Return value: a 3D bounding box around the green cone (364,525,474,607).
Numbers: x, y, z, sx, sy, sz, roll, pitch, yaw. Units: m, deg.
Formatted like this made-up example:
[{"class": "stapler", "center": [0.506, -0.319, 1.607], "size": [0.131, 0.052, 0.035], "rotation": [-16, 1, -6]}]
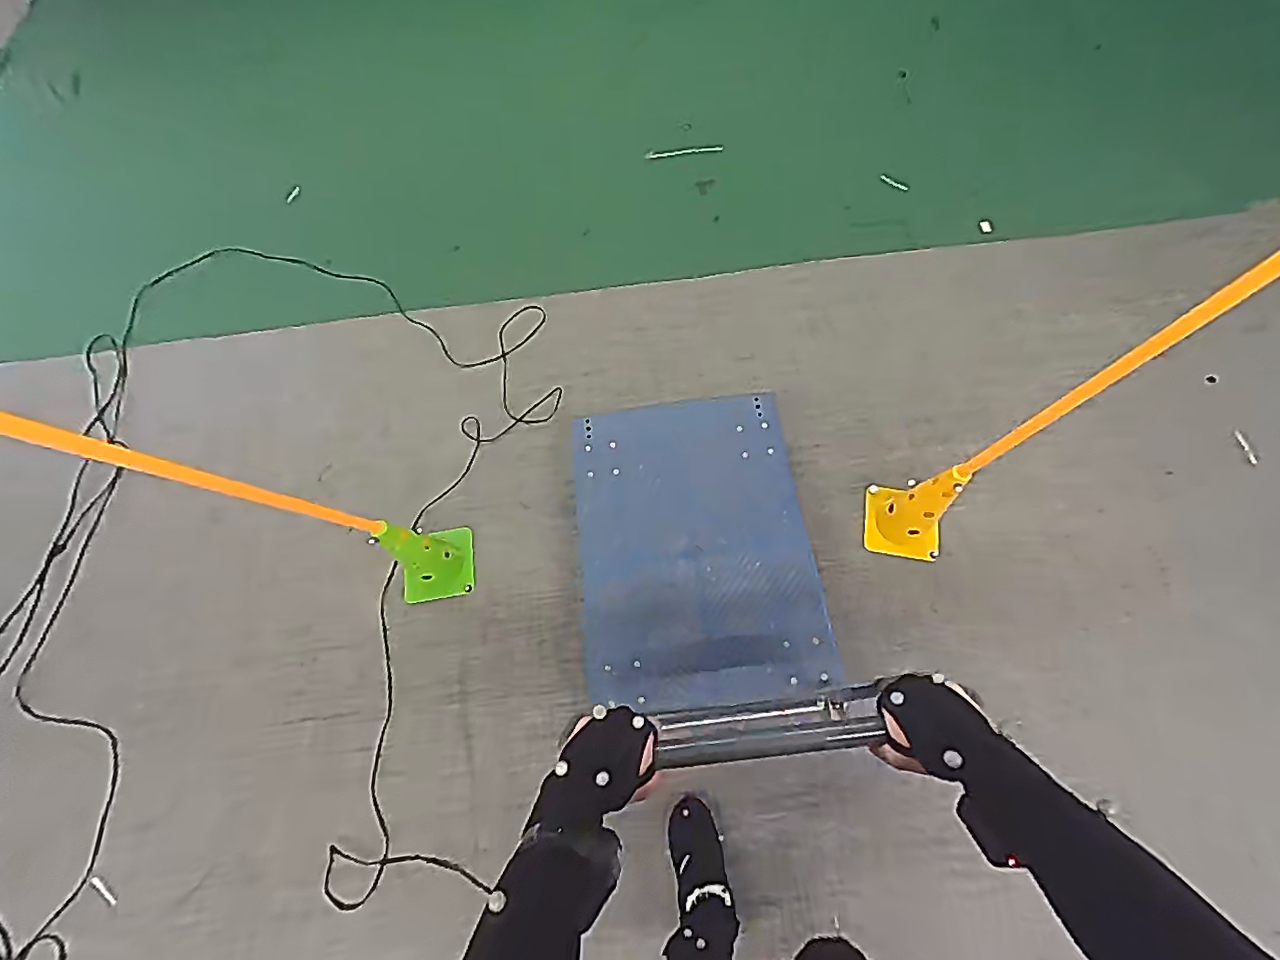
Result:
[{"class": "green cone", "center": [-0.592, 0.185, 1.399], "size": [0.202, 0.368, 0.200], "rotation": [-11, 66, 1]}]
